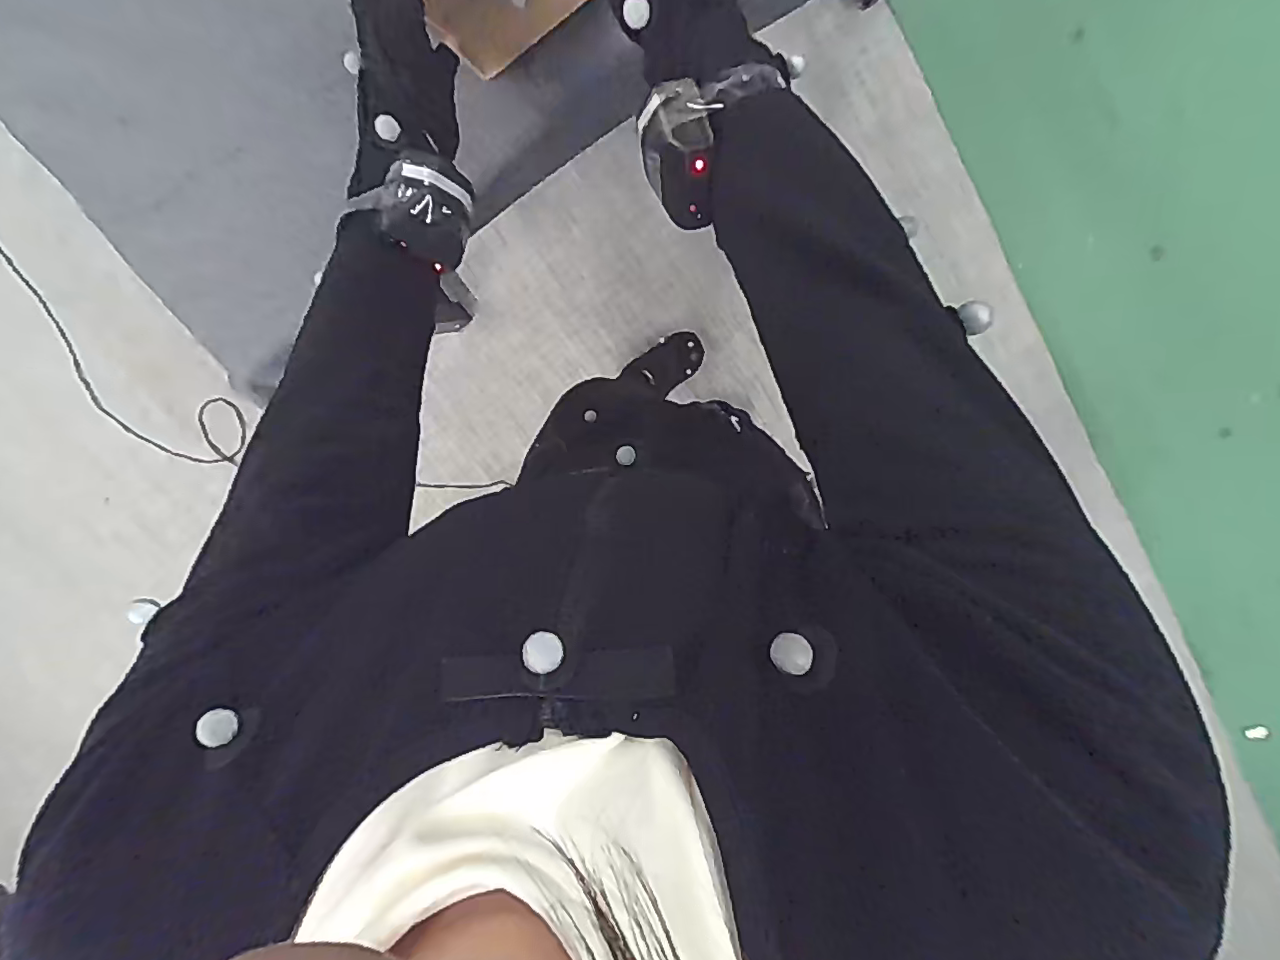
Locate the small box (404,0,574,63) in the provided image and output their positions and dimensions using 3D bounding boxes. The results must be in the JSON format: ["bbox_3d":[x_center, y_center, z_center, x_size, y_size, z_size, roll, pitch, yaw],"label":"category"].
[{"bbox_3d":[-0.129,-0.484,0.427,0.179,0.176,0.168,-28,107,17],"label":"small box"}]
